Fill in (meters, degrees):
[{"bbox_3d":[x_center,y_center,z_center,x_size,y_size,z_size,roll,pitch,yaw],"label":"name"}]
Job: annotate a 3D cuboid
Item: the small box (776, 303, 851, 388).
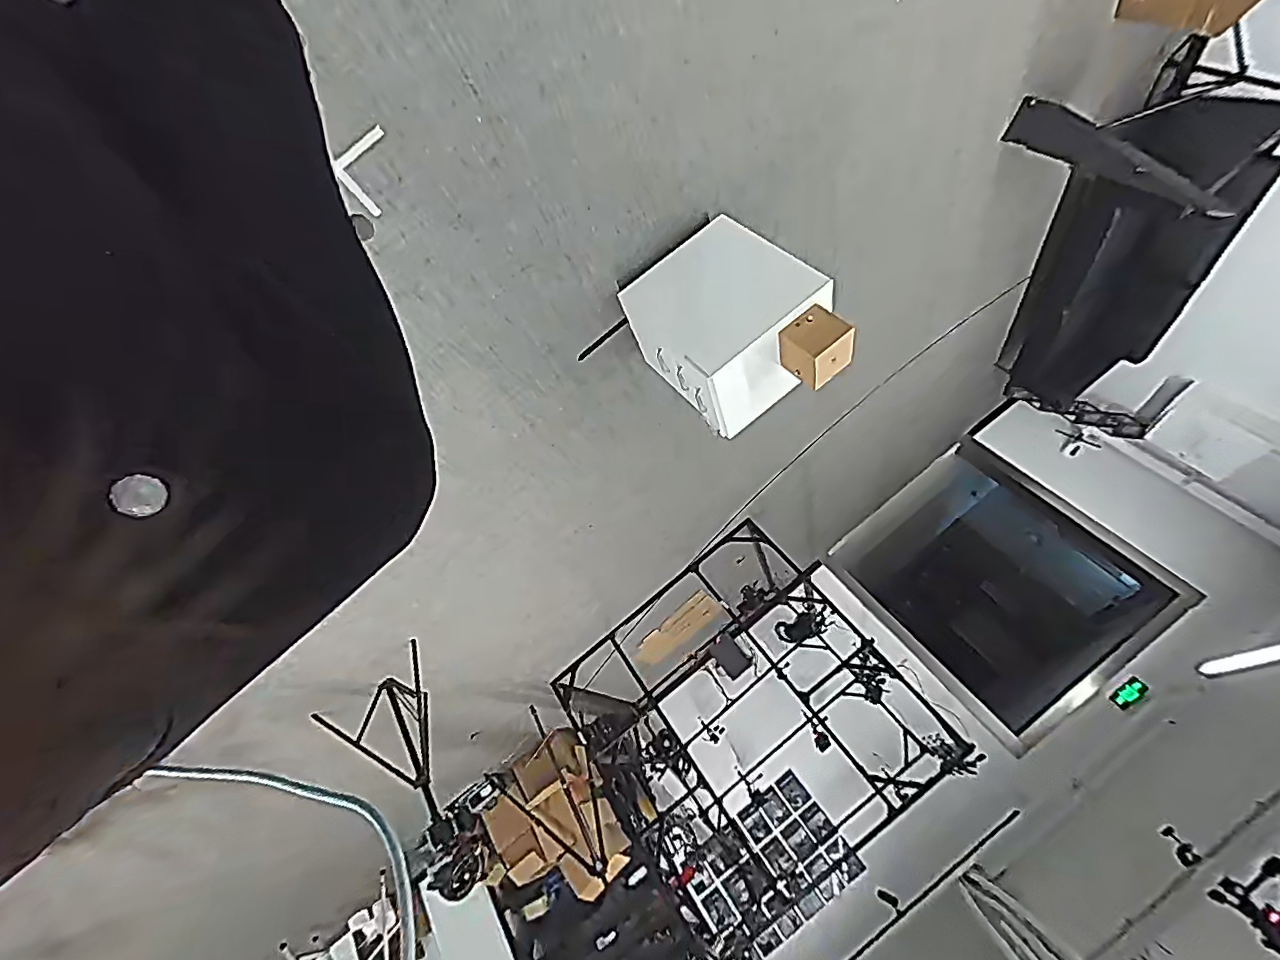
[{"bbox_3d":[0.567,-0.446,1.781,0.168,0.176,0.179,-39,149,-5],"label":"small box"}]
